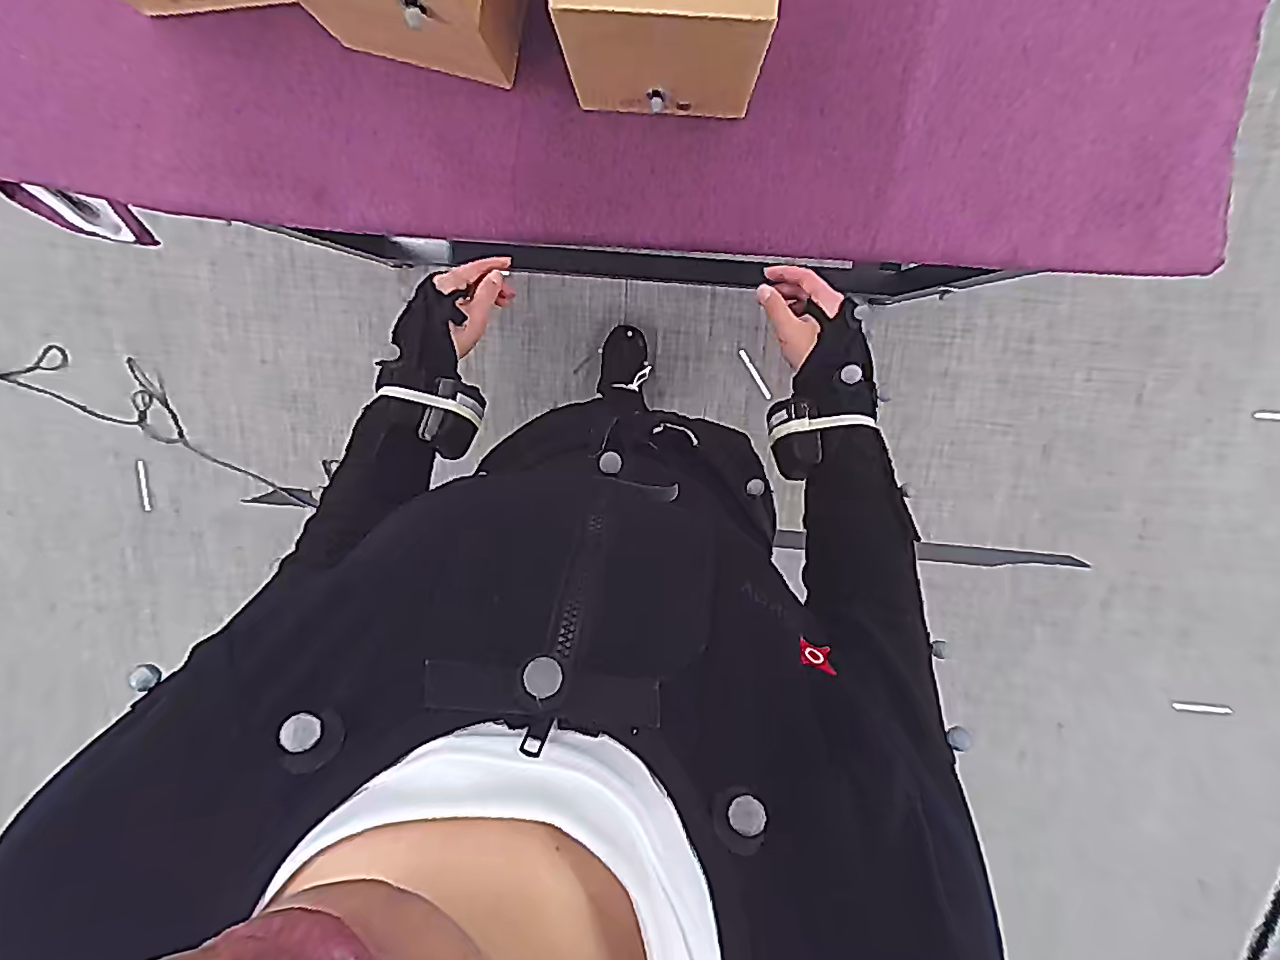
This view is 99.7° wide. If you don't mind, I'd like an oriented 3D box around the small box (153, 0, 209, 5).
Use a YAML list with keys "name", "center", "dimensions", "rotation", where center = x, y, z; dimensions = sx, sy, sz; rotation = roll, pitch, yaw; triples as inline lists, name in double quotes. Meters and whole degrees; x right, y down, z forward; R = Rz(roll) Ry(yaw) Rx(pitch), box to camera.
- name: "small box"
  center: [-0.420, -0.533, 0.440]
  dimensions: [0.168, 0.176, 0.179]
  rotation: [-4, 104, 3]
